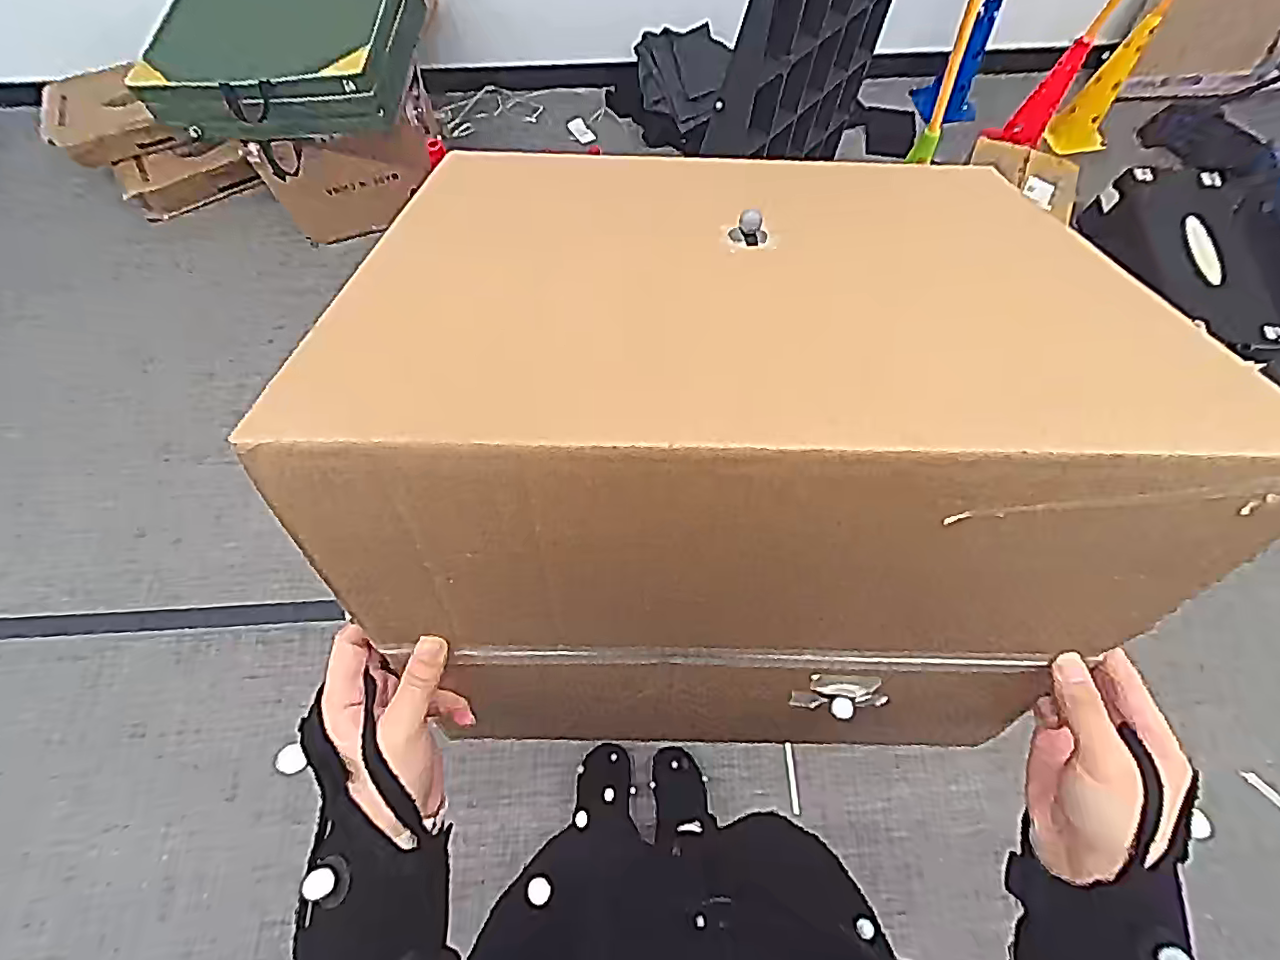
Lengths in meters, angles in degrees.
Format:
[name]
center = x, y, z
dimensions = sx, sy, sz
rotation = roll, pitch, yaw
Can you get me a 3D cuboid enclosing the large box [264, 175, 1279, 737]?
[large box]
center = 0.051, -0.015, 0.413
dimensions = 0.408, 0.320, 0.320
rotation = 0, 49, 0
